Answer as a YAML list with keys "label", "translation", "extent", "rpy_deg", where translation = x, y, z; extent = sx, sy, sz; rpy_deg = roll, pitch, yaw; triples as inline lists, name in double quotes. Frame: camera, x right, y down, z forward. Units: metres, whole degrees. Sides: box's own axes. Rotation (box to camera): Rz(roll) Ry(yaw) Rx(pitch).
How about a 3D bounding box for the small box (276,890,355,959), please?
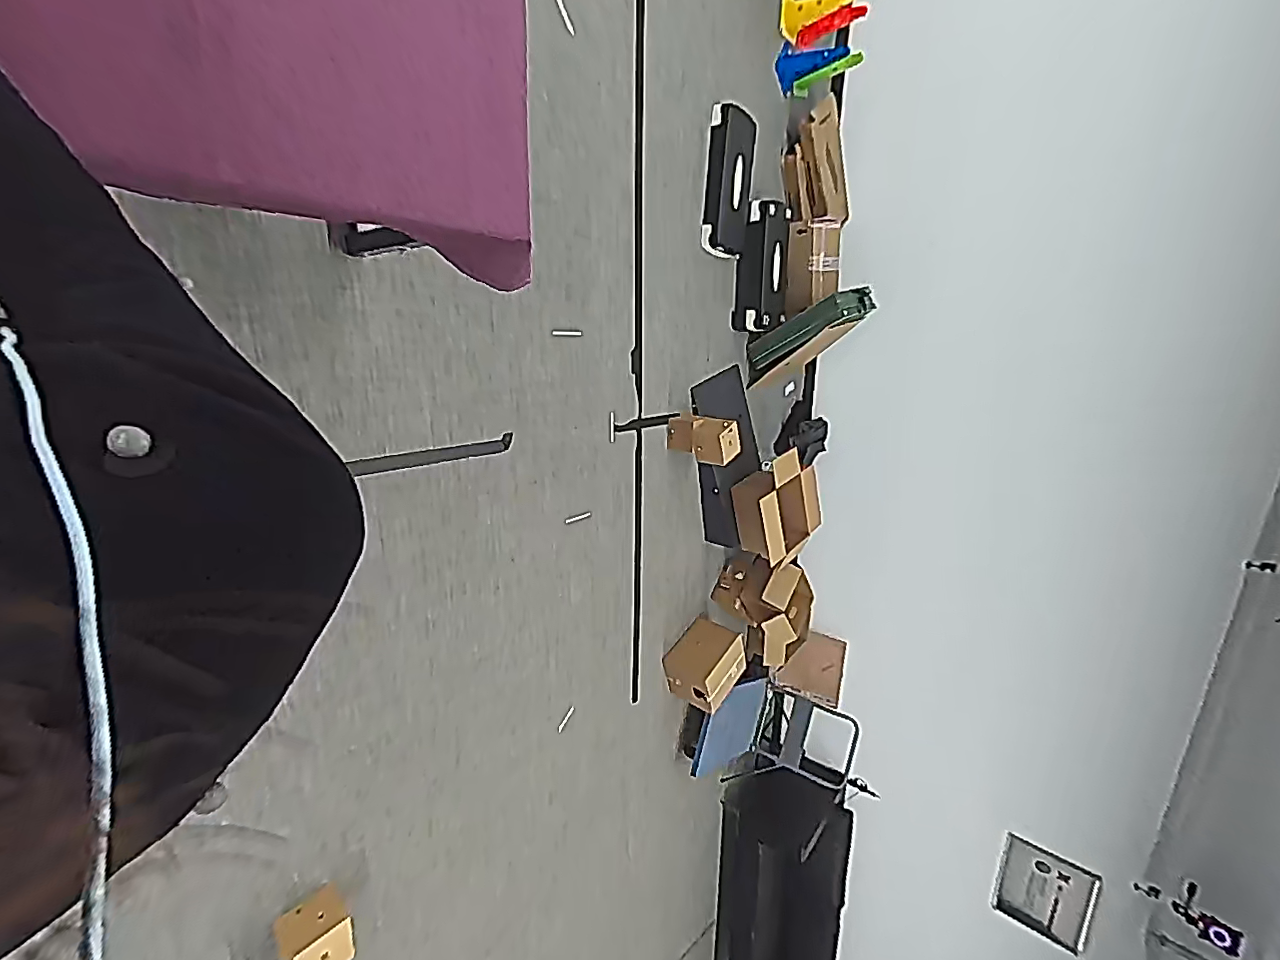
- label: "small box"
  translation: [-1.041, 1.468, 1.731]
  extent: [0.168, 0.176, 0.179]
  rpy_deg: [-15, 113, -49]
